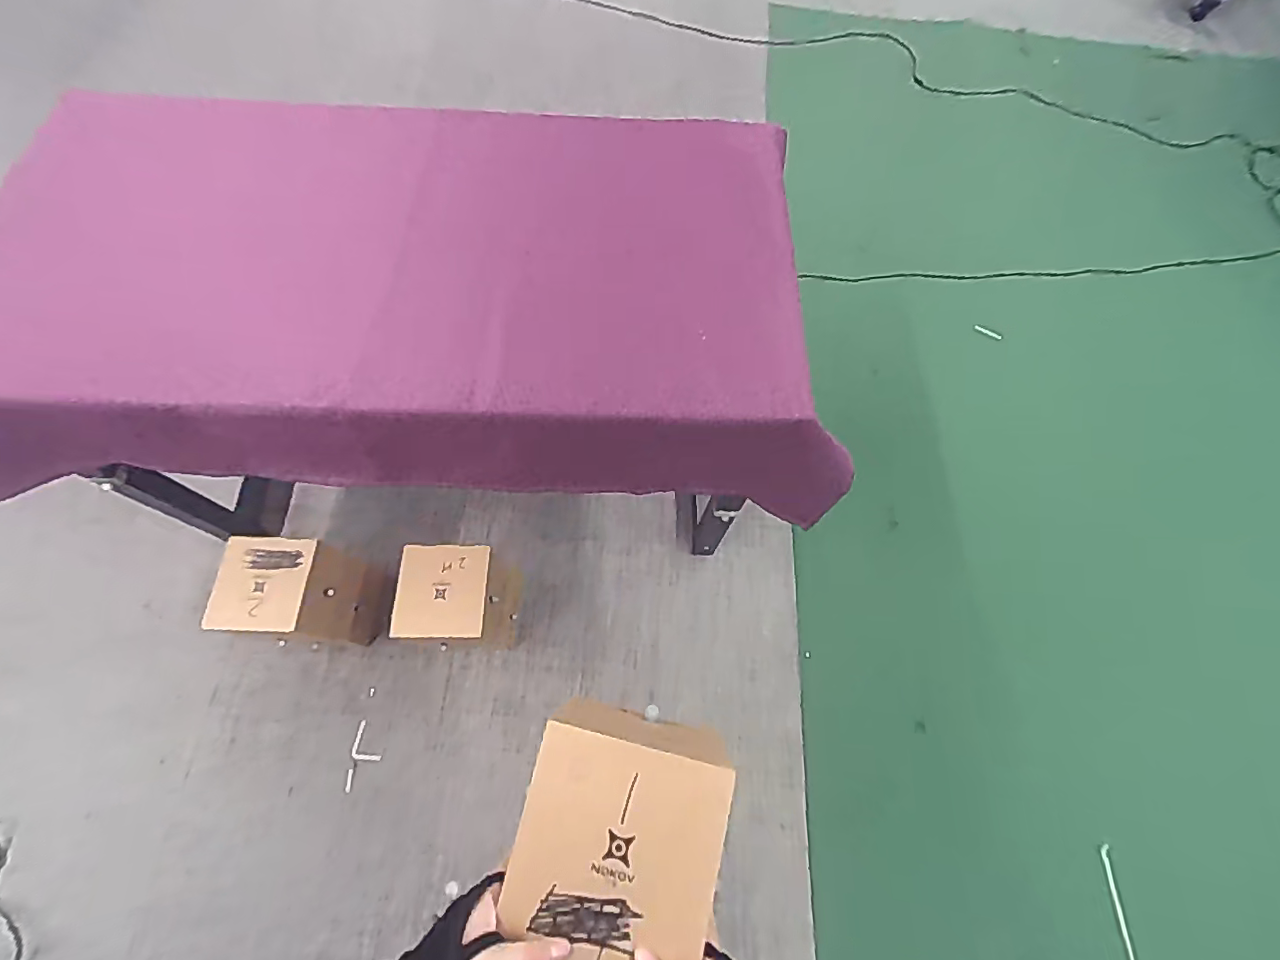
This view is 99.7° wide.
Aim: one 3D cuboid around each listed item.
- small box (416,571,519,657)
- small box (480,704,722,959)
[{"bbox_3d":[-0.386,0.313,1.244,0.179,0.176,0.168,3,66,-2],"label":"small box"},{"bbox_3d":[-0.025,0.333,0.518,0.168,0.176,0.179,13,74,6],"label":"small box"}]
